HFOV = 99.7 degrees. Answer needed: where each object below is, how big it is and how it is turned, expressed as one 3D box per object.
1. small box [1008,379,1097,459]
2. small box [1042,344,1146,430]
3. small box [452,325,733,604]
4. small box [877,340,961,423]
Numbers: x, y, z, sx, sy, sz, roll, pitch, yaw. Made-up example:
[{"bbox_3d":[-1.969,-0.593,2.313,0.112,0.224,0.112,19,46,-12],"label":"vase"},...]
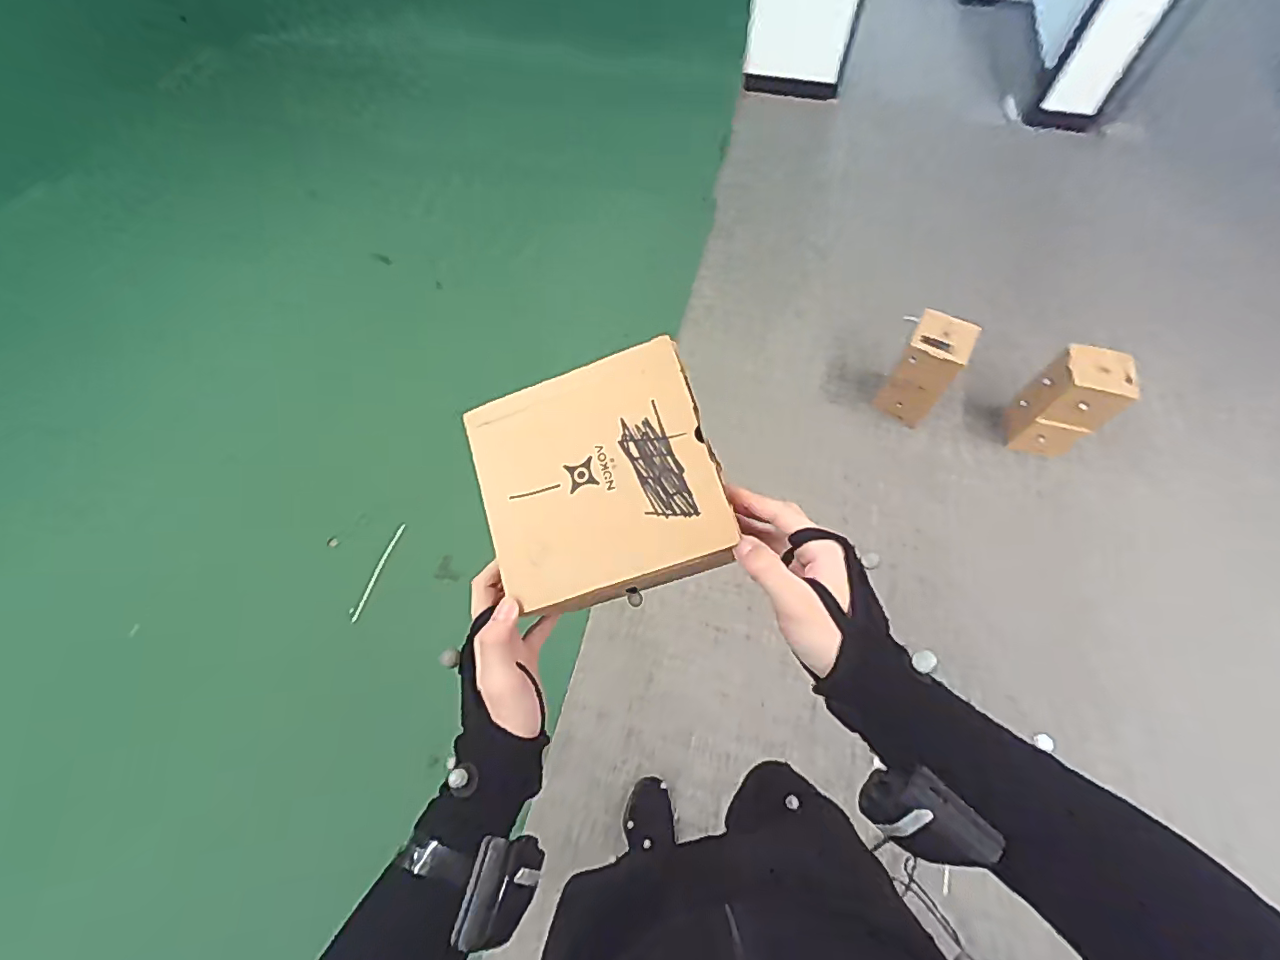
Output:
[{"bbox_3d":[1.315,-0.191,1.734,0.168,0.176,0.179,15,64,8],"label":"small box"},{"bbox_3d":[1.321,-0.268,1.589,0.179,0.176,0.168,16,64,9],"label":"small box"},{"bbox_3d":[-0.027,0.000,0.457,0.179,0.176,0.168,-16,77,8],"label":"small box"},{"bbox_3d":[0.917,-0.320,1.796,0.168,0.176,0.179,34,68,16],"label":"small box"}]
